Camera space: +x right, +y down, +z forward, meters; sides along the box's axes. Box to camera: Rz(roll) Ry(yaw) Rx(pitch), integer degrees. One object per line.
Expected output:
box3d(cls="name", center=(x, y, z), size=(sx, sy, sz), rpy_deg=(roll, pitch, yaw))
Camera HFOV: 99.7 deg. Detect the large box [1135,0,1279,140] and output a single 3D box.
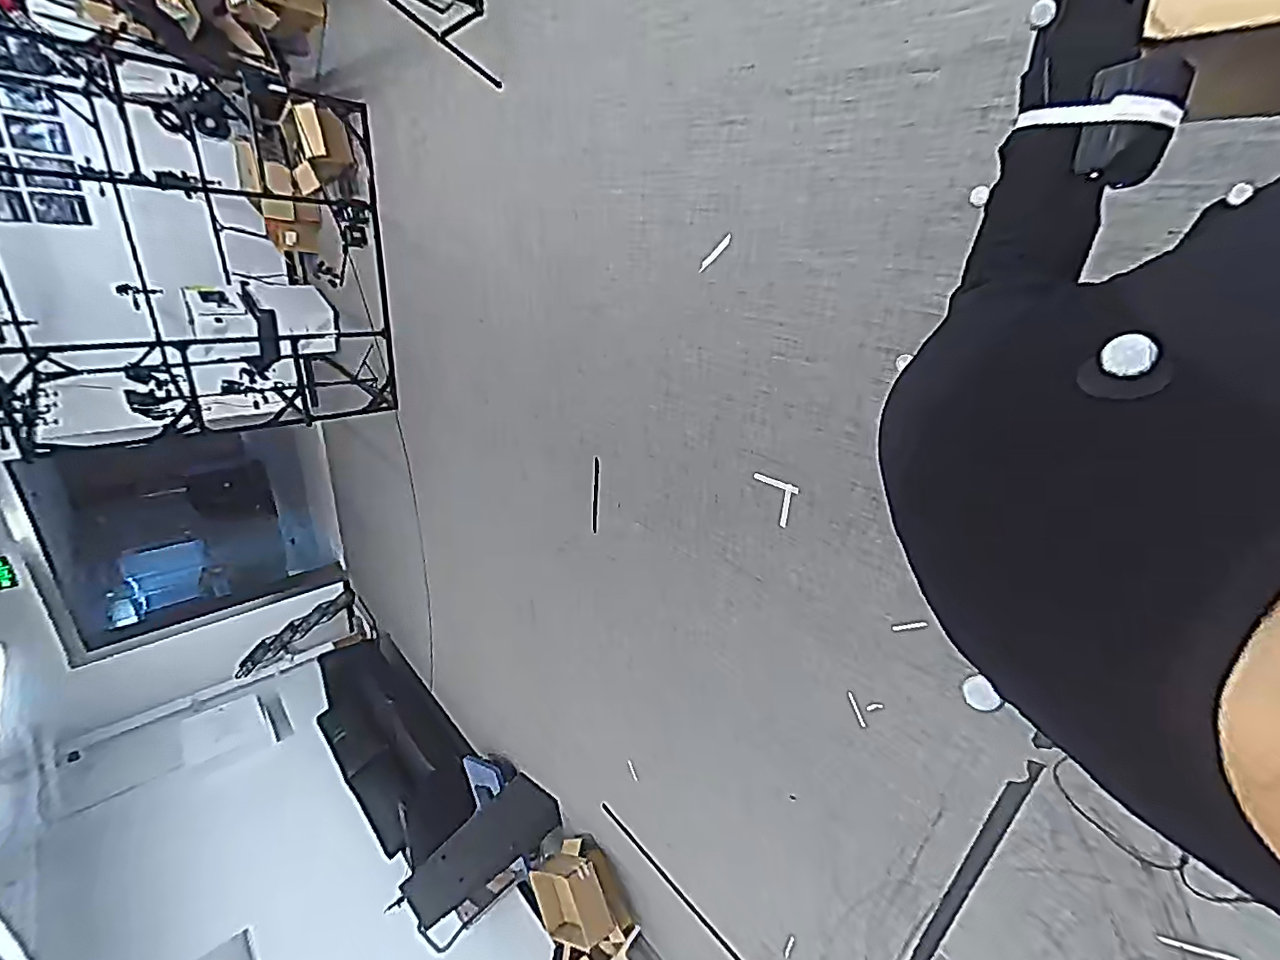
box3d(cls="large box", center=(0.566, -0.393, 0.274), size=(0.408, 0.320, 0.320), rpy_deg=(21, 121, 37))
